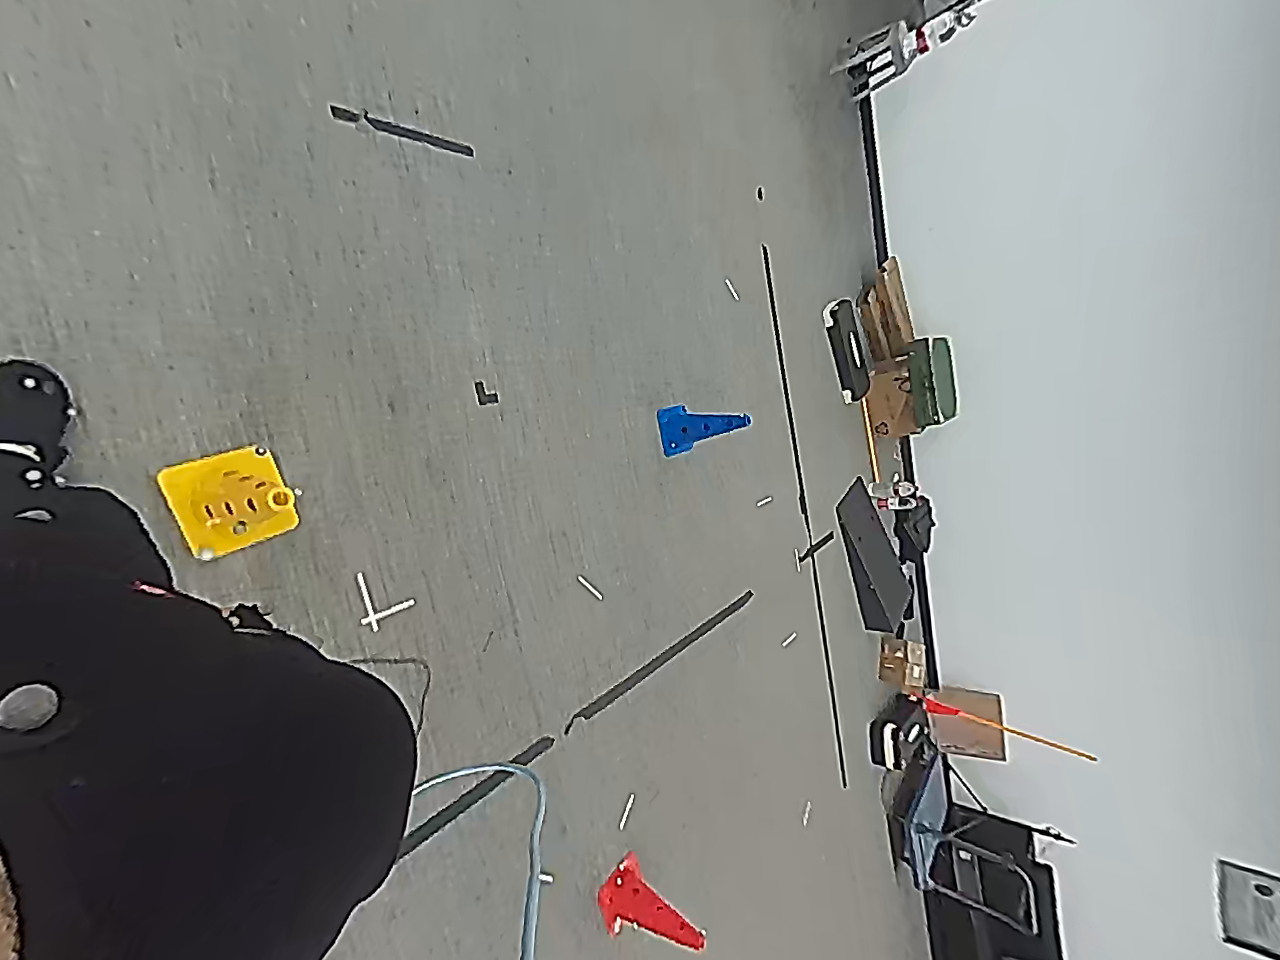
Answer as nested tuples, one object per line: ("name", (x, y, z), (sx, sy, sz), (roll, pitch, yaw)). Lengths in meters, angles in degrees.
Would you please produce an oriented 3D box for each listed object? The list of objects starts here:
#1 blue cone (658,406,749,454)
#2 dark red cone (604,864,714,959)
("blue cone", (0.267, -0.218, 2.162), (0.193, 0.380, 0.192), (-18, 100, -47))
("dark red cone", (0.079, 1.495, 1.802), (0.202, 0.394, 0.201), (-29, 108, -45))
